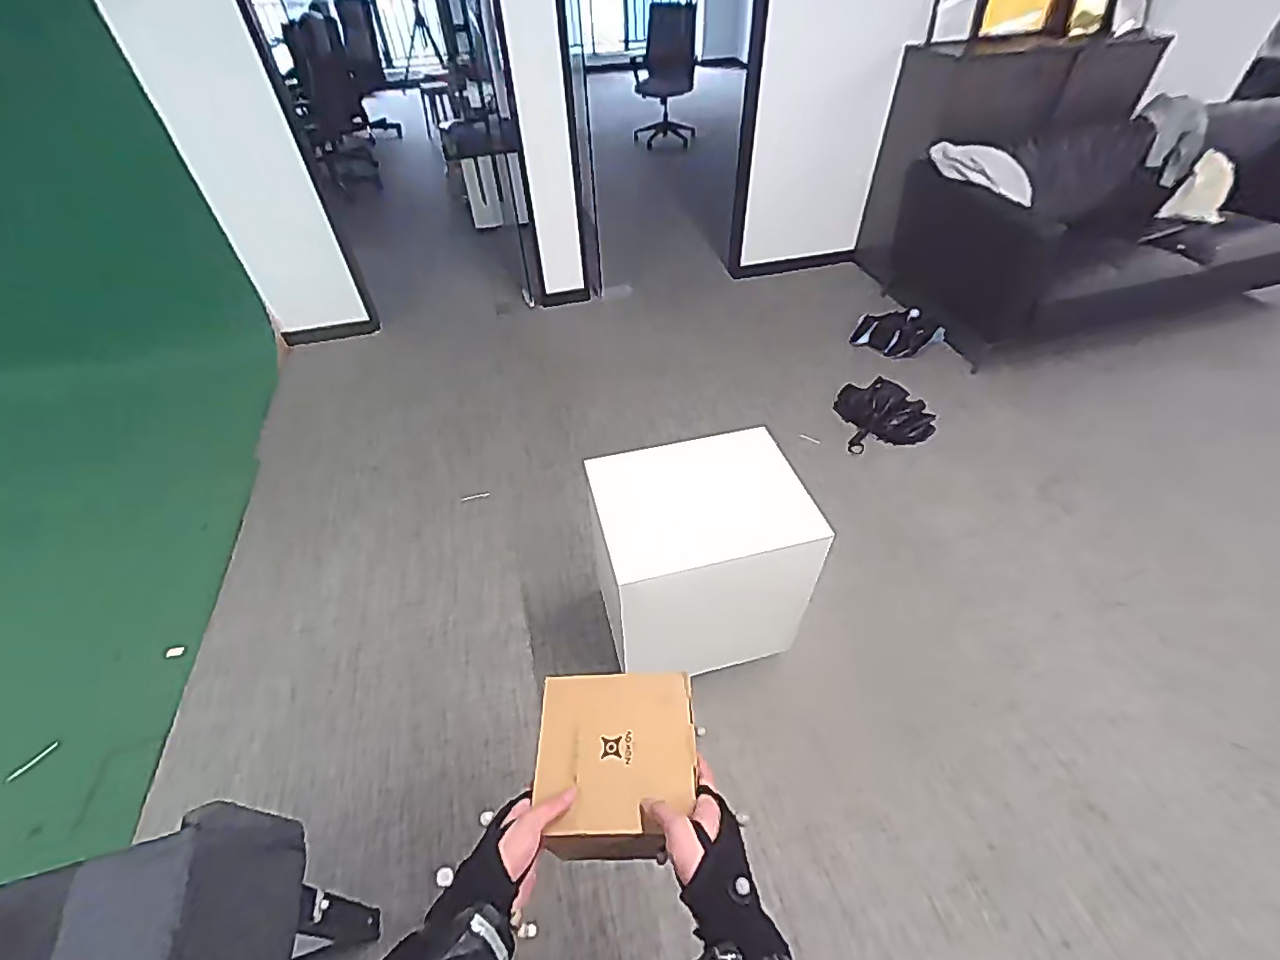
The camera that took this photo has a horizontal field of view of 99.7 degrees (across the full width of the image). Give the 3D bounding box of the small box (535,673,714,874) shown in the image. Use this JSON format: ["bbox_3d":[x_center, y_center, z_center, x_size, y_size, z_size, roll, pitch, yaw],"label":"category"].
[{"bbox_3d":[-0.013,0.343,0.631,0.179,0.176,0.168,-5,46,2],"label":"small box"}]
